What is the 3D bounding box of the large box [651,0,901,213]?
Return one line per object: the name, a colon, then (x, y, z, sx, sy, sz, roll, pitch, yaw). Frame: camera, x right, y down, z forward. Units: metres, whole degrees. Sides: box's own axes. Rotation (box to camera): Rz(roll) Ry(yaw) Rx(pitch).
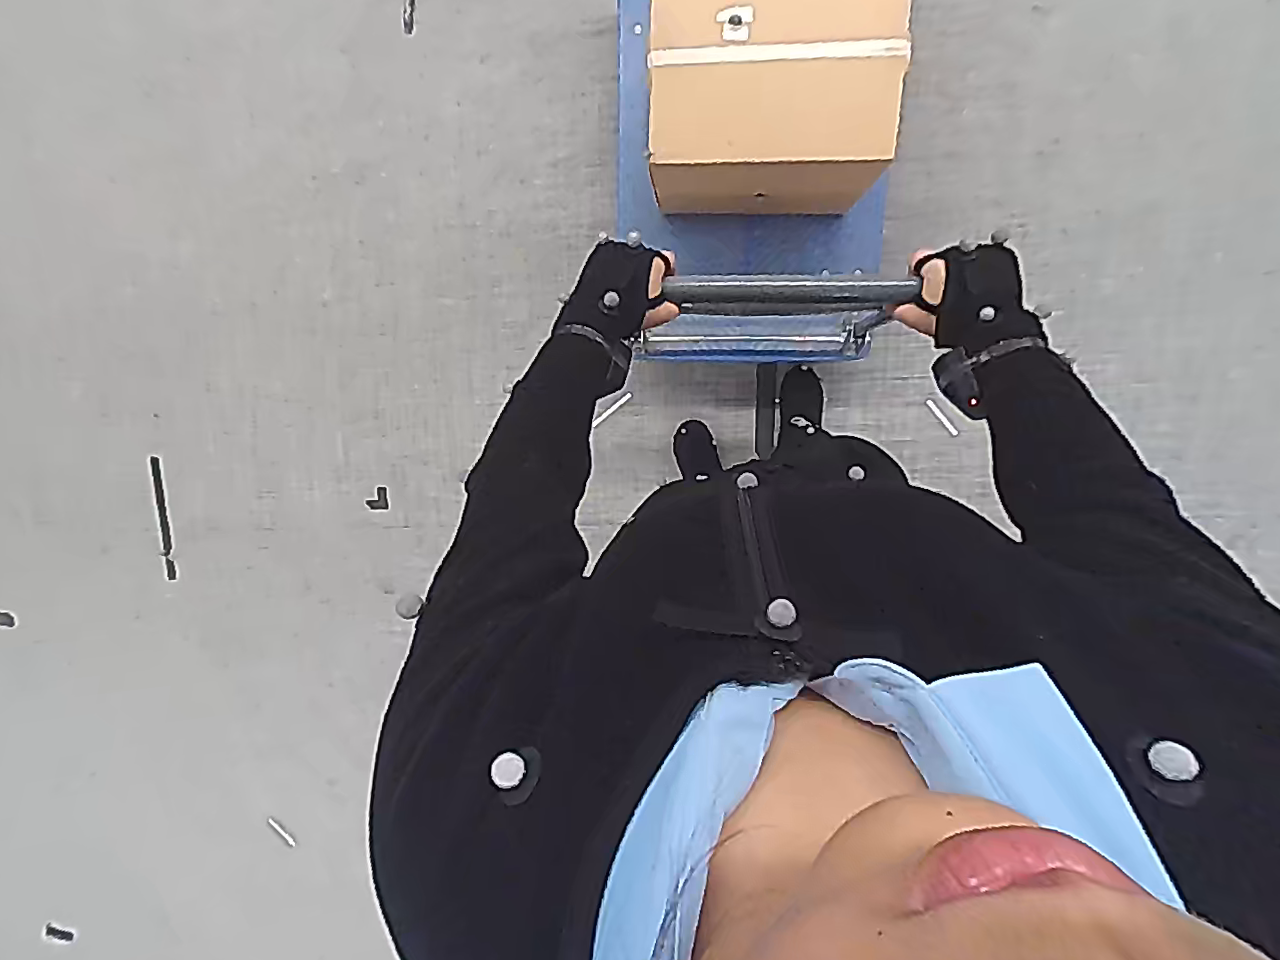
large box: (0.237, -0.720, 1.035, 0.408, 0.320, 0.320, 2, 101, 7)
